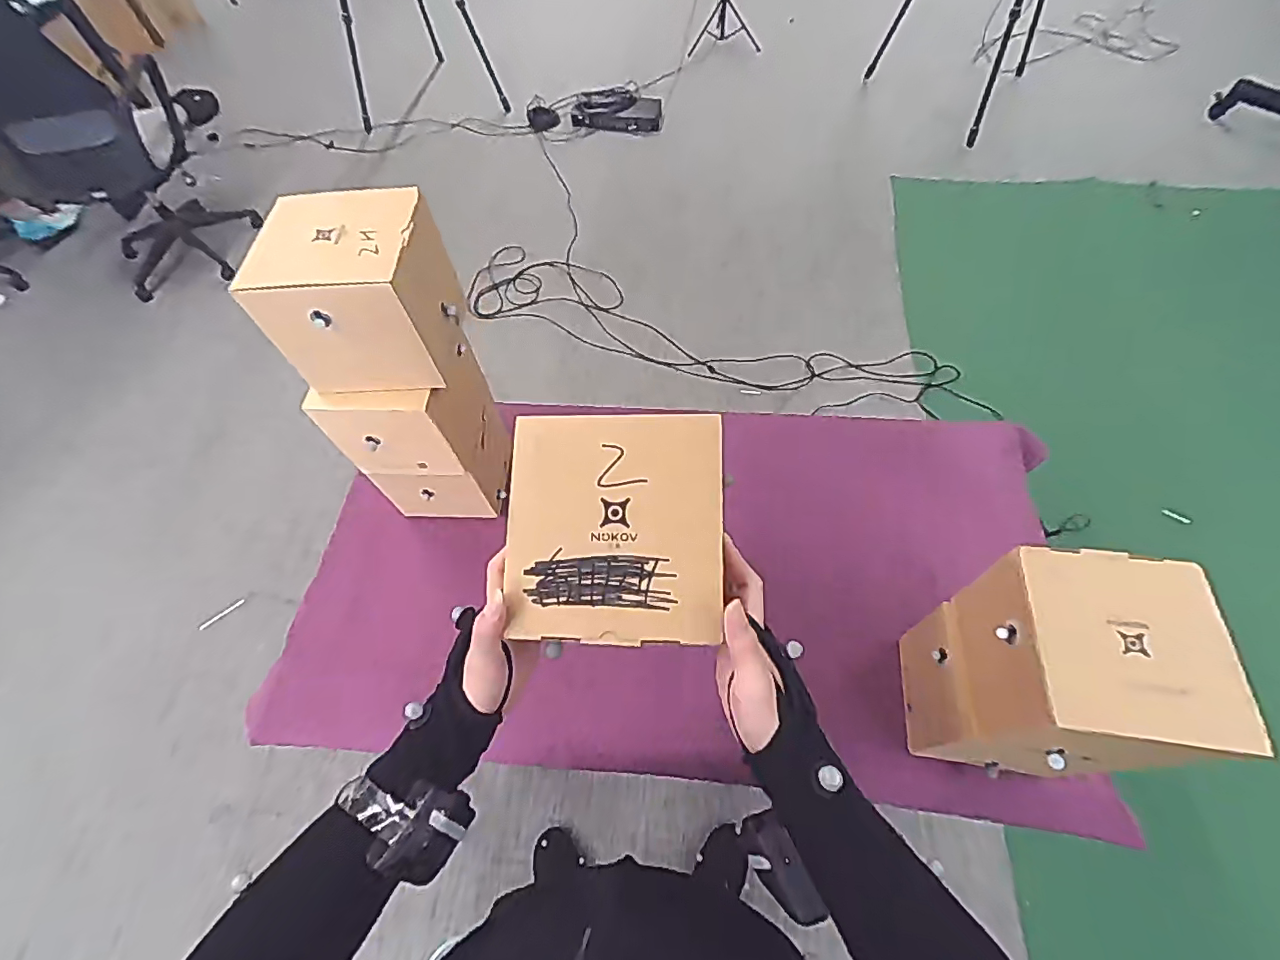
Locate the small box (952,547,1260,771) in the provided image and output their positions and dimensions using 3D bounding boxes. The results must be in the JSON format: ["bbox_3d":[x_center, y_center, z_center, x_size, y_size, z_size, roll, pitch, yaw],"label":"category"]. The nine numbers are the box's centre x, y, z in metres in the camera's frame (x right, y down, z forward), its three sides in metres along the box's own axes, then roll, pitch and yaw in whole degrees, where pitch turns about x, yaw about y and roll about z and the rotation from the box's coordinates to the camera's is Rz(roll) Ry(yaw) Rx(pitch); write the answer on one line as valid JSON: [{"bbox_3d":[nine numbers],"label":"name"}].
[{"bbox_3d":[0.454,0.192,0.570,0.168,0.176,0.179,6,60,9],"label":"small box"}]

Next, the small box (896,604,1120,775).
[{"bbox_3d":[0.460,0.279,0.708,0.179,0.176,0.168,7,59,7],"label":"small box"}]

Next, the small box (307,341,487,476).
[{"bbox_3d":[-0.340,-0.119,0.798,0.168,0.176,0.179,1,59,4],"label":"small box"}]

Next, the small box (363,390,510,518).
[{"bbox_3d":[-0.338,-0.042,0.941,0.179,0.176,0.168,0,60,4],"label":"small box"}]

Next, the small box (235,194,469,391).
[{"bbox_3d":[-0.334,-0.224,0.669,0.179,0.176,0.168,-2,60,2],"label":"small box"}]
